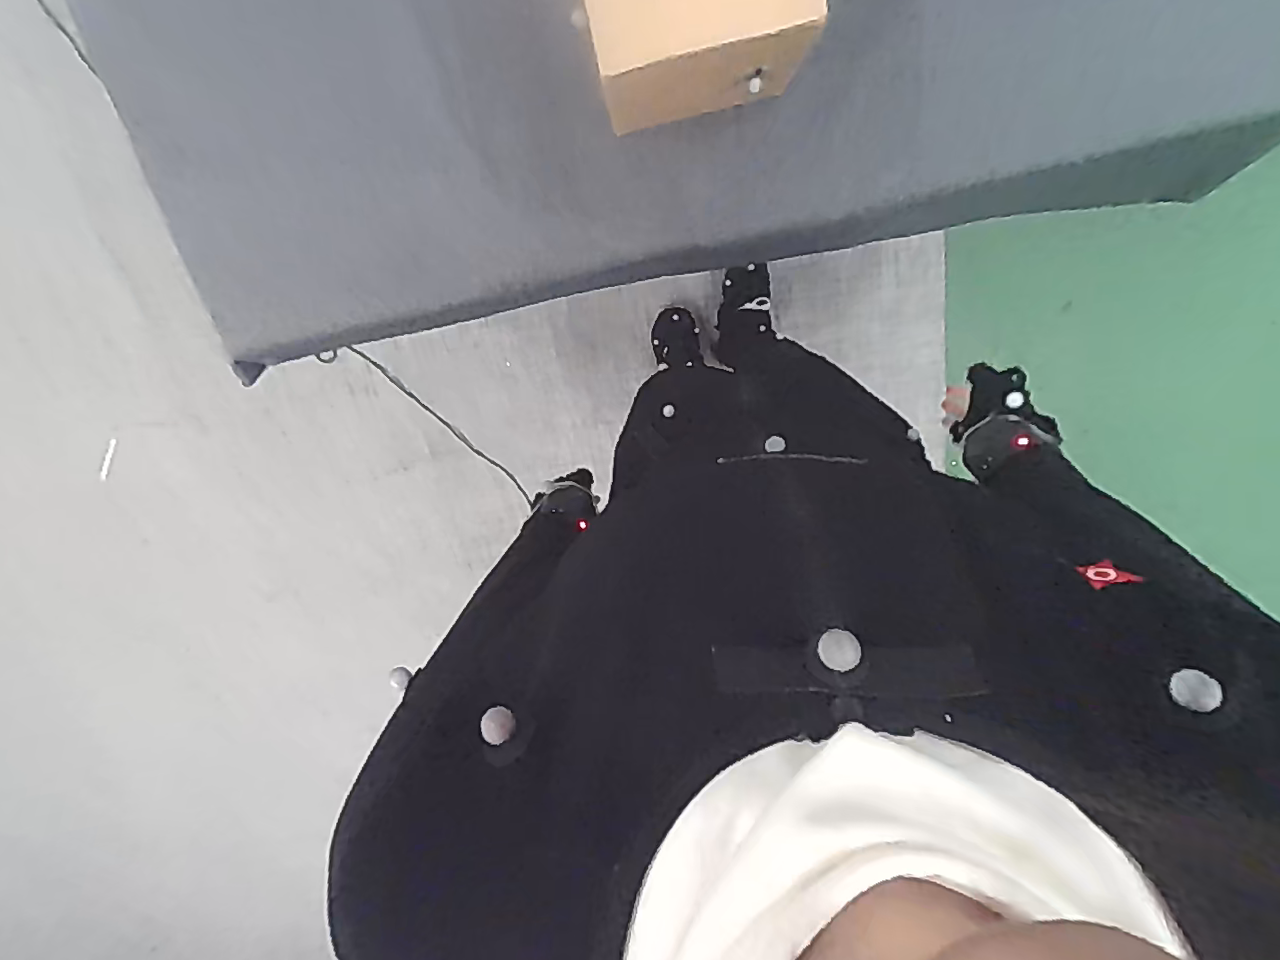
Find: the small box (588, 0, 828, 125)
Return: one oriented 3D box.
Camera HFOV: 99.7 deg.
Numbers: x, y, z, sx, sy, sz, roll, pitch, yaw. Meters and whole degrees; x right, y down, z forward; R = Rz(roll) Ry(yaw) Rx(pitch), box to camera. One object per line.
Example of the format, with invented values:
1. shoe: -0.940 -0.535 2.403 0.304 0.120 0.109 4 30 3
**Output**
1. small box: 0.041 -0.434 0.458 0.179 0.176 0.168 -12 108 7
